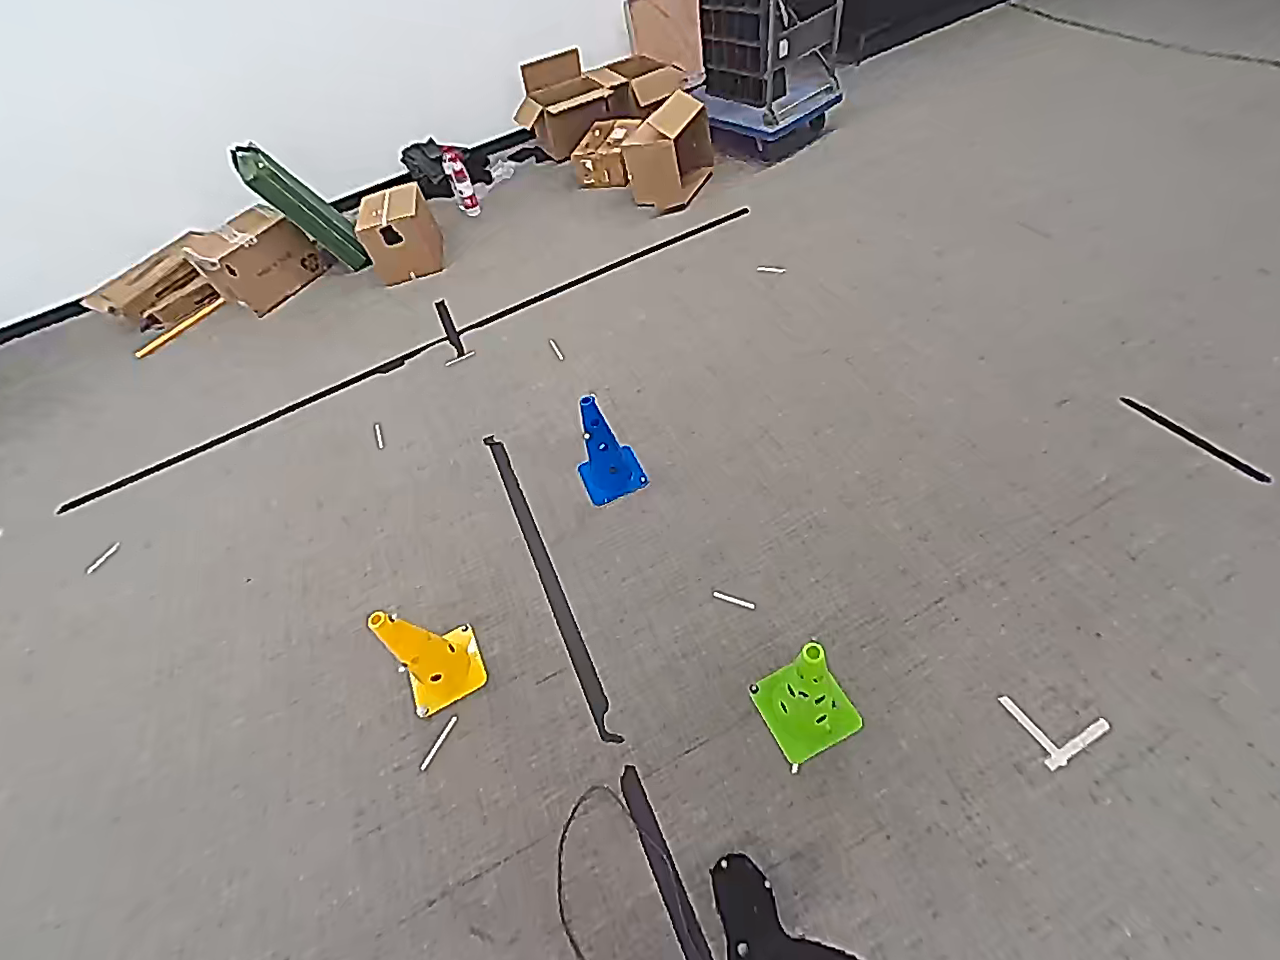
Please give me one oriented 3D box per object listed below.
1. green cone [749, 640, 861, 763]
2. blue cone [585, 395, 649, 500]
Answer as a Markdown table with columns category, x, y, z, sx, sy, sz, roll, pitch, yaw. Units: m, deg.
| category | x | y | z | sx | sy | sz | roll | pitch | yaw |
| --- | --- | --- | --- | --- | --- | --- | --- | --- | --- |
| green cone | 0.363 | 0.435 | 1.157 | 0.202 | 0.368 | 0.200 | -25 | 51 | -8 |
| blue cone | -0.110 | -0.122 | 1.716 | 0.192 | 0.380 | 0.193 | -22 | 51 | -6 |
